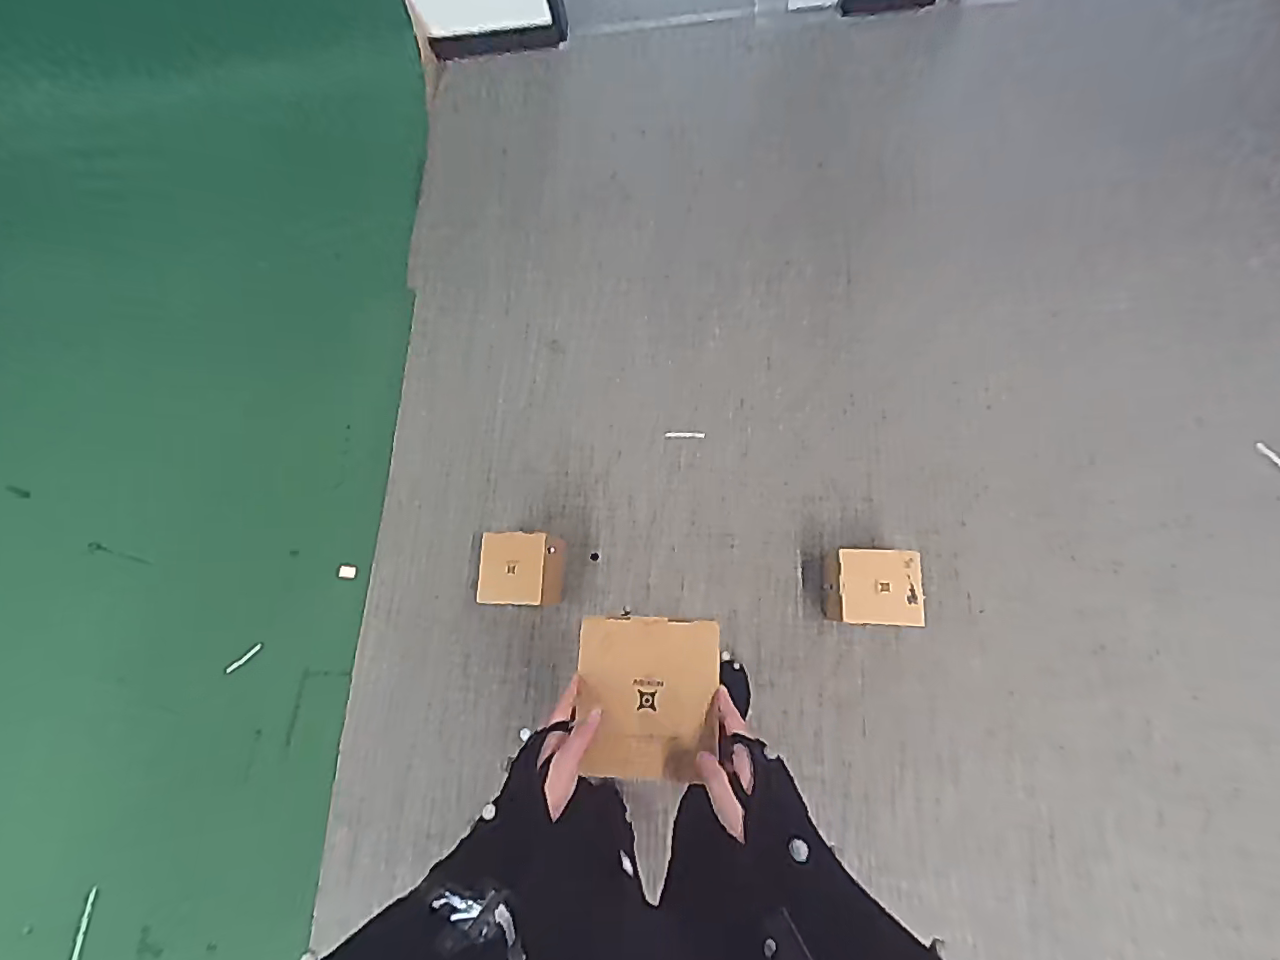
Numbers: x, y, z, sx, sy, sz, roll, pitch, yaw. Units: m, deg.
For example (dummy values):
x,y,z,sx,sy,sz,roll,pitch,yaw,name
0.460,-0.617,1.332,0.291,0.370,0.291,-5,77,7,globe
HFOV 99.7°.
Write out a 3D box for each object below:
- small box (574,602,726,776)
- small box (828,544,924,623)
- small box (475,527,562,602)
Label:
x,y,z,sx,sy,sz,roll,pitch,yaw,name
0.020,0.251,0.685,0.168,0.176,0.179,1,76,7,small box
0.540,0.245,1.264,0.179,0.176,0.168,1,77,9,small box
-0.303,0.220,1.383,0.168,0.176,0.179,0,76,8,small box
